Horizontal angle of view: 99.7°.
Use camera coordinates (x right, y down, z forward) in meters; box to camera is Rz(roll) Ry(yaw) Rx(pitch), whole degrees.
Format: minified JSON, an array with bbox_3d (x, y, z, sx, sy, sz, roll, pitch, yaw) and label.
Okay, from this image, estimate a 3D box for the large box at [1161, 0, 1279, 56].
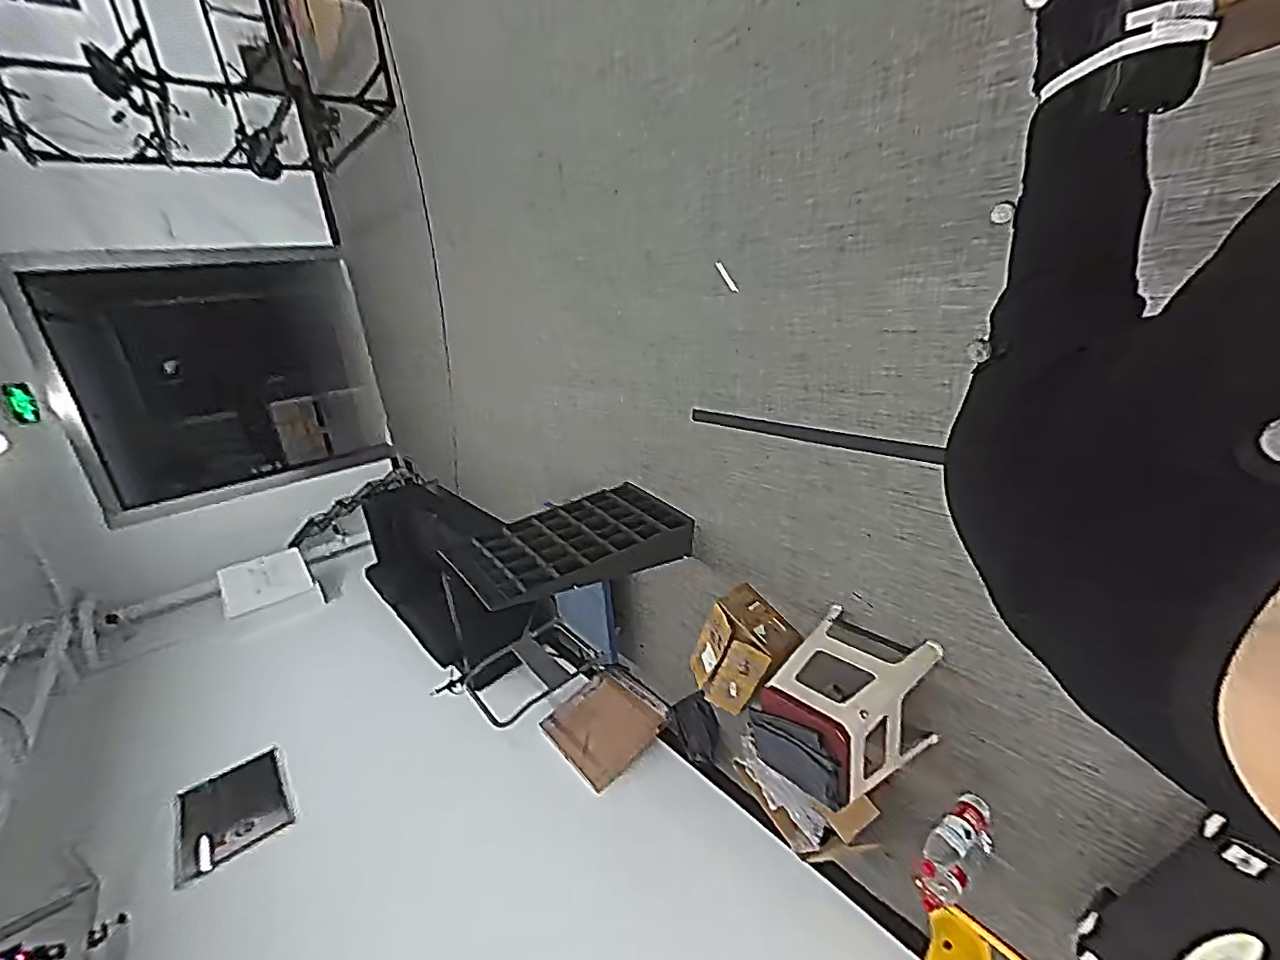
[{"bbox_3d":[0.552,-0.494,0.261,0.408,0.320,0.320,7,118,50],"label":"large box"}]
